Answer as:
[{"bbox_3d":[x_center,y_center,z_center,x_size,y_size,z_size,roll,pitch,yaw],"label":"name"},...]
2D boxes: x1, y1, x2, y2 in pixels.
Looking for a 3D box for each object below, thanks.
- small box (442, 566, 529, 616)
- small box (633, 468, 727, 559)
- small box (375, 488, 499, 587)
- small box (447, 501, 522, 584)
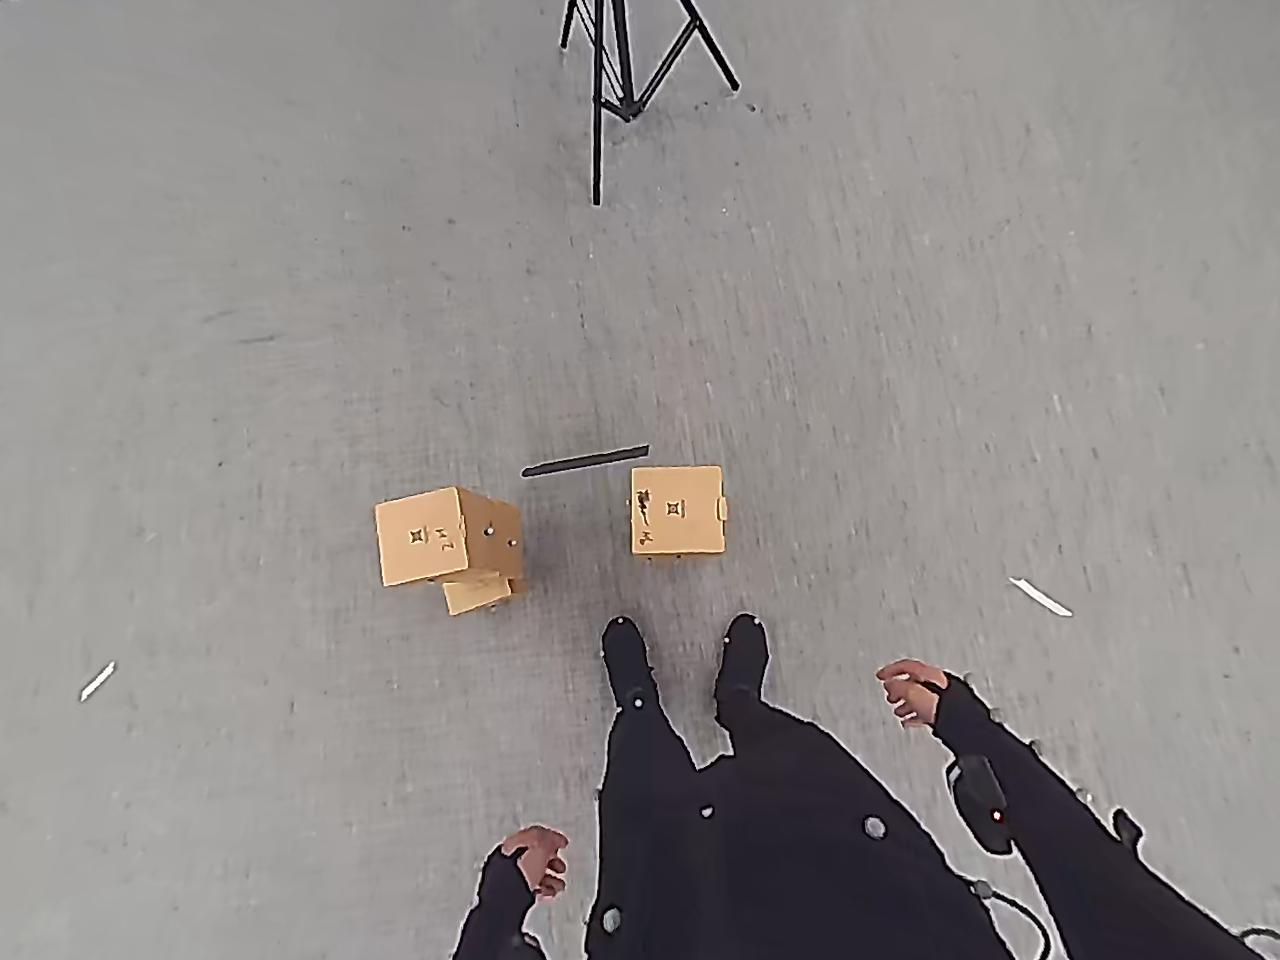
[{"bbox_3d":[-0.412,0.248,1.428,0.168,0.176,0.179,-20,79,2],"label":"small box"},{"bbox_3d":[0.076,0.071,1.085,0.179,0.176,0.168,-1,79,3],"label":"small box"},{"bbox_3d":[-0.413,0.126,1.117,0.179,0.176,0.168,-13,78,3],"label":"small box"},{"bbox_3d":[-0.382,0.154,1.277,0.168,0.176,0.179,-5,79,5],"label":"small box"}]
